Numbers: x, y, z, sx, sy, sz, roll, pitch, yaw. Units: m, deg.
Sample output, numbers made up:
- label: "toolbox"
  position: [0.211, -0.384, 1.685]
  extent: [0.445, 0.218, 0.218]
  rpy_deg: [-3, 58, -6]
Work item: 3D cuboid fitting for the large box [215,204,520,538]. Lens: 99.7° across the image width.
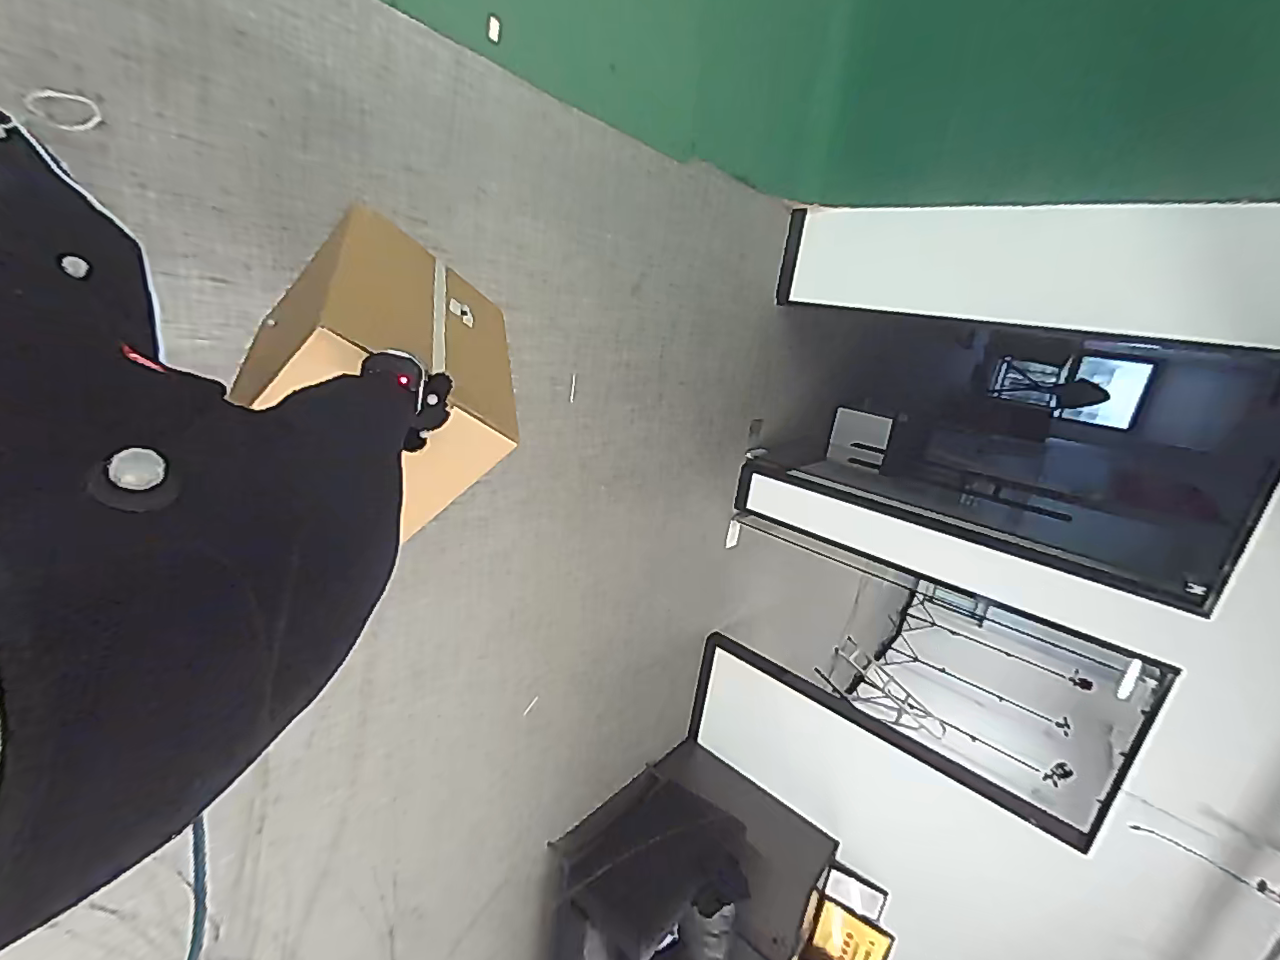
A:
- label: "large box"
  position: [-0.442, -0.175, 0.928]
  extent: [0.320, 0.408, 0.320]
  rpy_deg: [-37, 136, 19]
